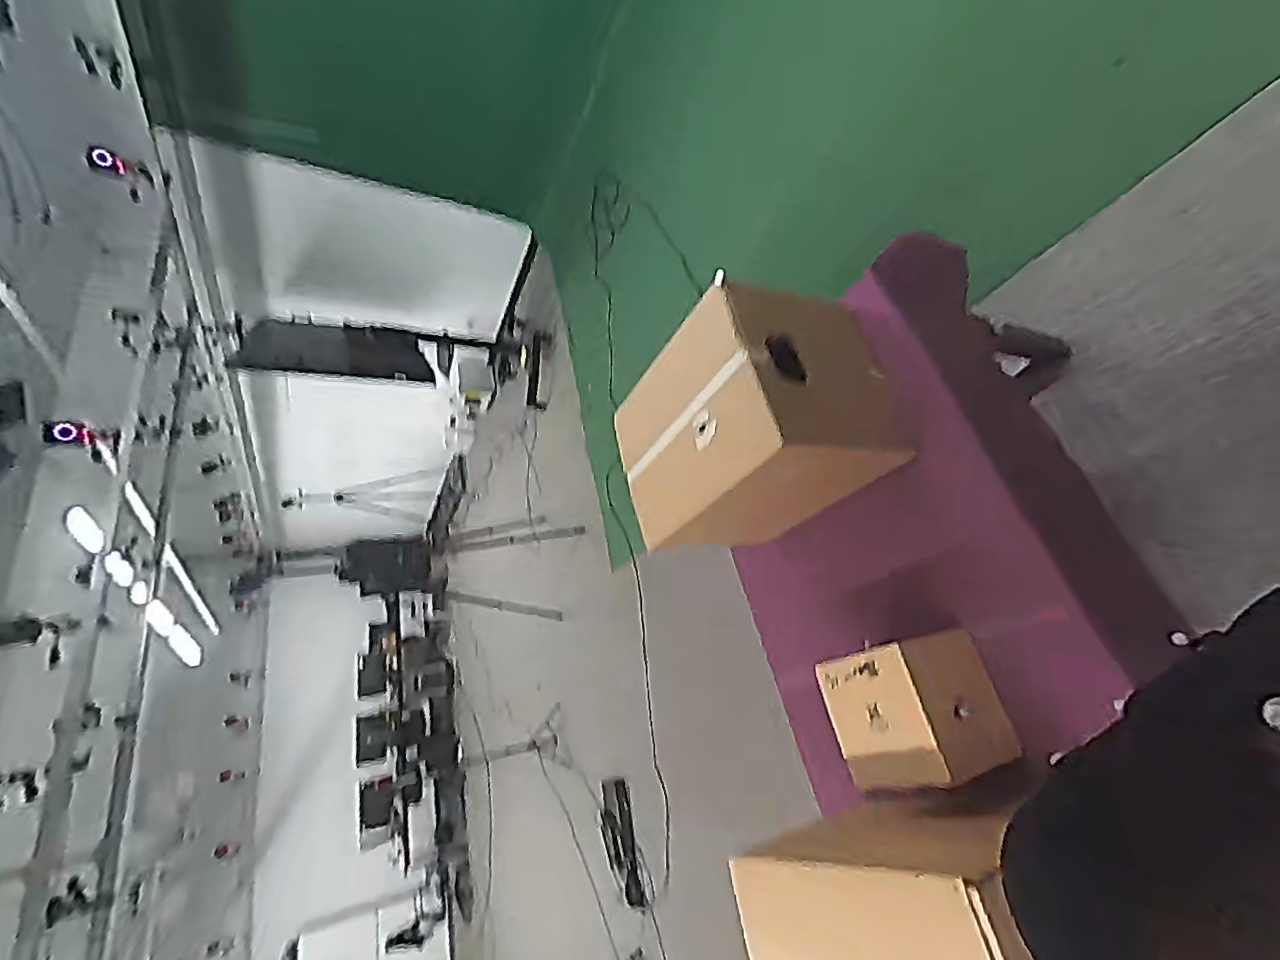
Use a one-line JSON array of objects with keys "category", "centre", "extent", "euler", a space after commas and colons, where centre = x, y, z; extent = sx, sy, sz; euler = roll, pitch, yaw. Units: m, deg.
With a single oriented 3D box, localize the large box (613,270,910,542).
[{"category": "large box", "centre": [0.195, -0.102, 1.015], "extent": [0.408, 0.320, 0.320], "euler": [-44, 53, 49]}]
